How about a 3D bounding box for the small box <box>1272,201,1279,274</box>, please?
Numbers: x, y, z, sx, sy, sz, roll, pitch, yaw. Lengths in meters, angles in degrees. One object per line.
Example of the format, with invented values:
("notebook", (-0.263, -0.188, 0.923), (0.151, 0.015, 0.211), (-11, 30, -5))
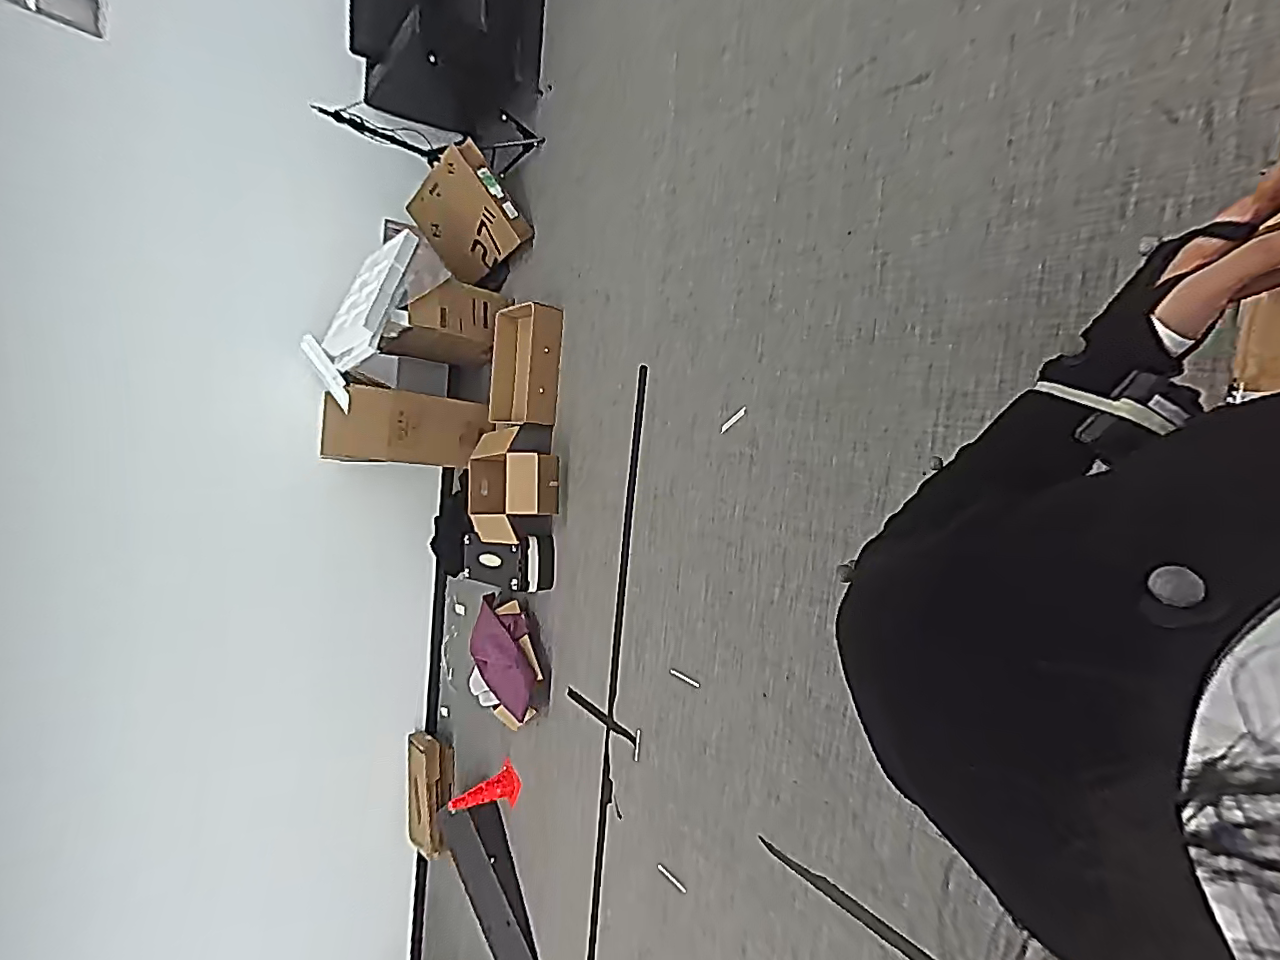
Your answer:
("small box", (0.802, -0.322, 0.567), (0.168, 0.176, 0.179), (10, 100, 50))
